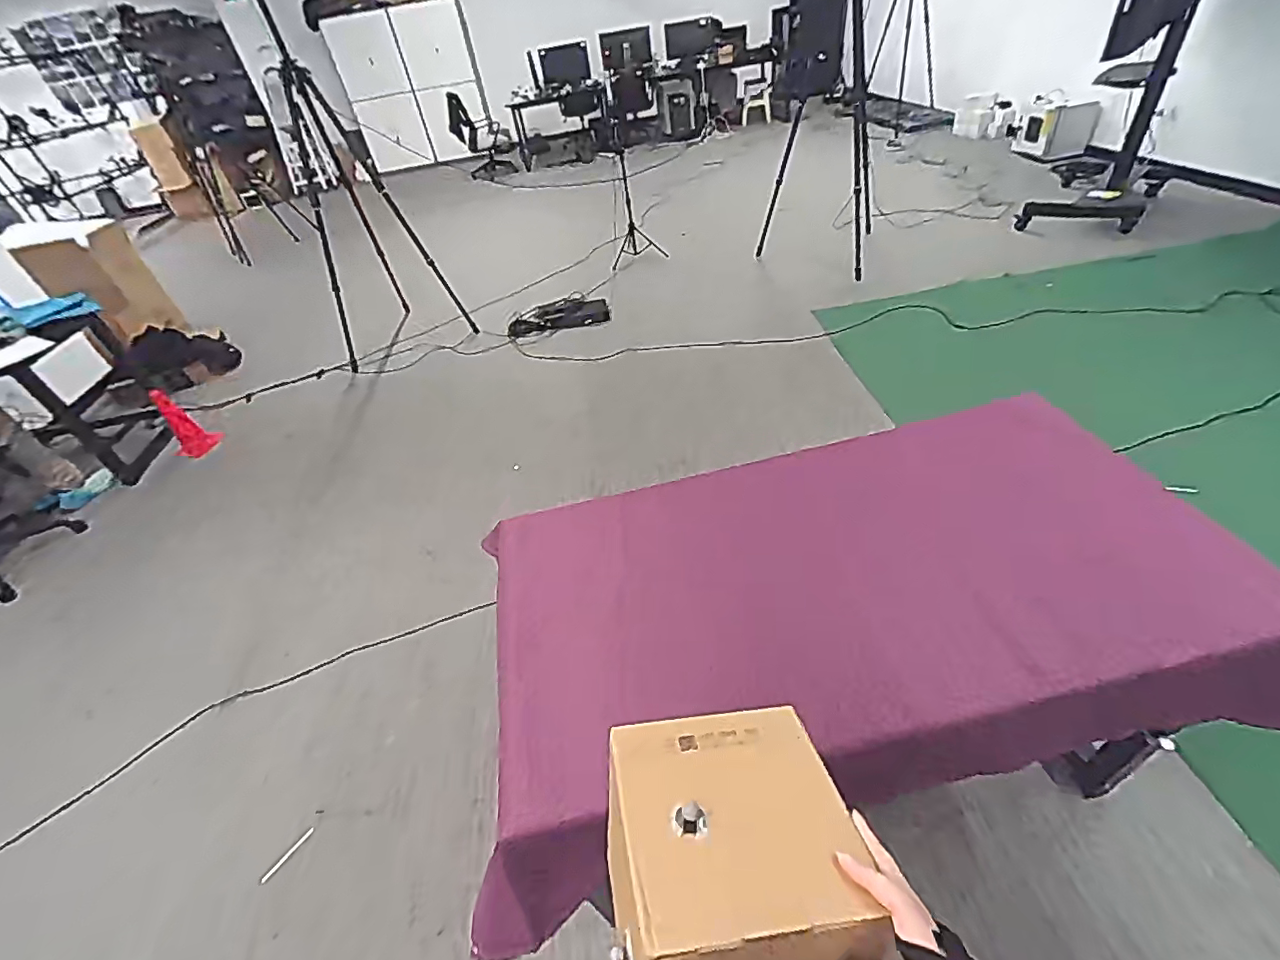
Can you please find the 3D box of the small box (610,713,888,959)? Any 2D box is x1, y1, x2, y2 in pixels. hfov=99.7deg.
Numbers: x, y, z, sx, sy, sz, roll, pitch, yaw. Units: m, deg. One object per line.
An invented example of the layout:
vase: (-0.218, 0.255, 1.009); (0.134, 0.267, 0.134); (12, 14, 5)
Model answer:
small box: (0.065, 0.313, 0.440); (0.168, 0.179, 0.176); (-2, 24, -9)
